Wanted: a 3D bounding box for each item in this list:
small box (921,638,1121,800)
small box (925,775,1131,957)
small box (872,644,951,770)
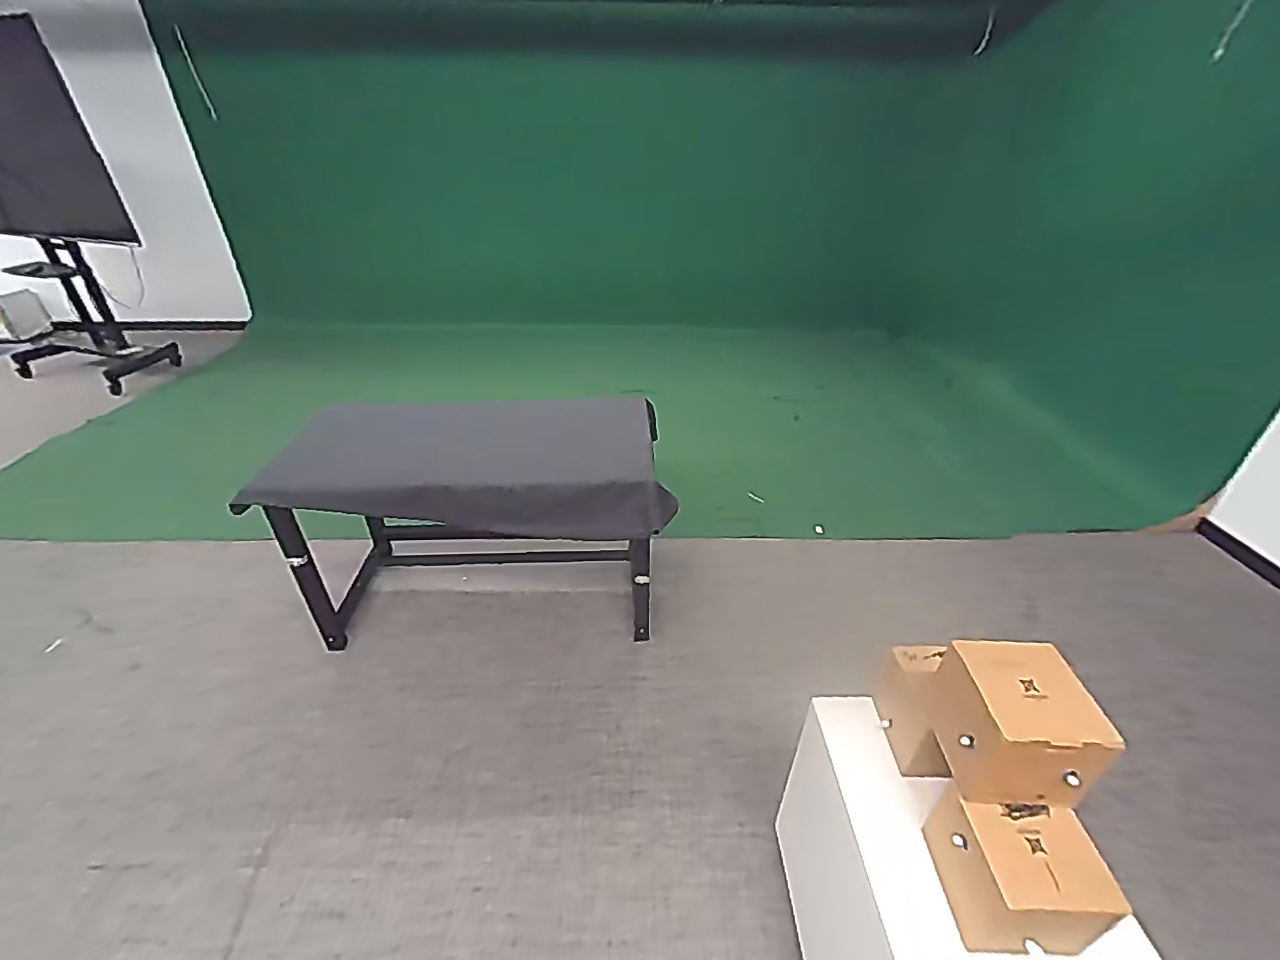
[{"bbox_3d":[0.574,0.373,0.845,0.168,0.176,0.179,2,32,0],"label":"small box"},{"bbox_3d":[0.565,0.581,0.822,0.168,0.176,0.179,1,34,1],"label":"small box"},{"bbox_3d":[0.572,0.439,1.040,0.168,0.176,0.179,0,35,-1],"label":"small box"}]
